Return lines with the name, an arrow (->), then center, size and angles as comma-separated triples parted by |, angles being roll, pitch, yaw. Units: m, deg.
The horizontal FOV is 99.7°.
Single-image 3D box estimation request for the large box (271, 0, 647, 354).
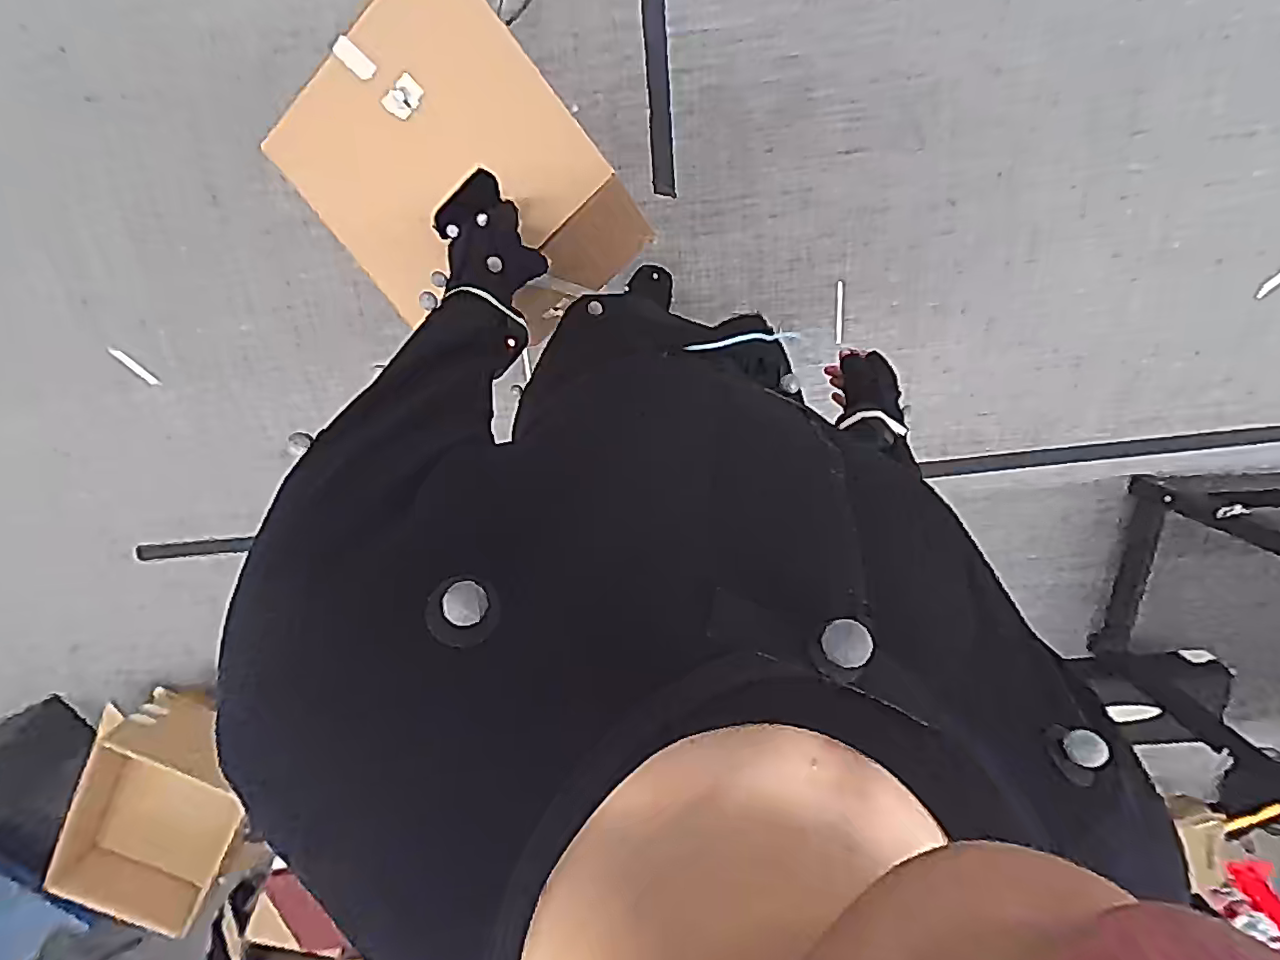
large box -> -0.227, -0.421, 0.826 | 0.320, 0.408, 0.320 | -37, 97, 16
